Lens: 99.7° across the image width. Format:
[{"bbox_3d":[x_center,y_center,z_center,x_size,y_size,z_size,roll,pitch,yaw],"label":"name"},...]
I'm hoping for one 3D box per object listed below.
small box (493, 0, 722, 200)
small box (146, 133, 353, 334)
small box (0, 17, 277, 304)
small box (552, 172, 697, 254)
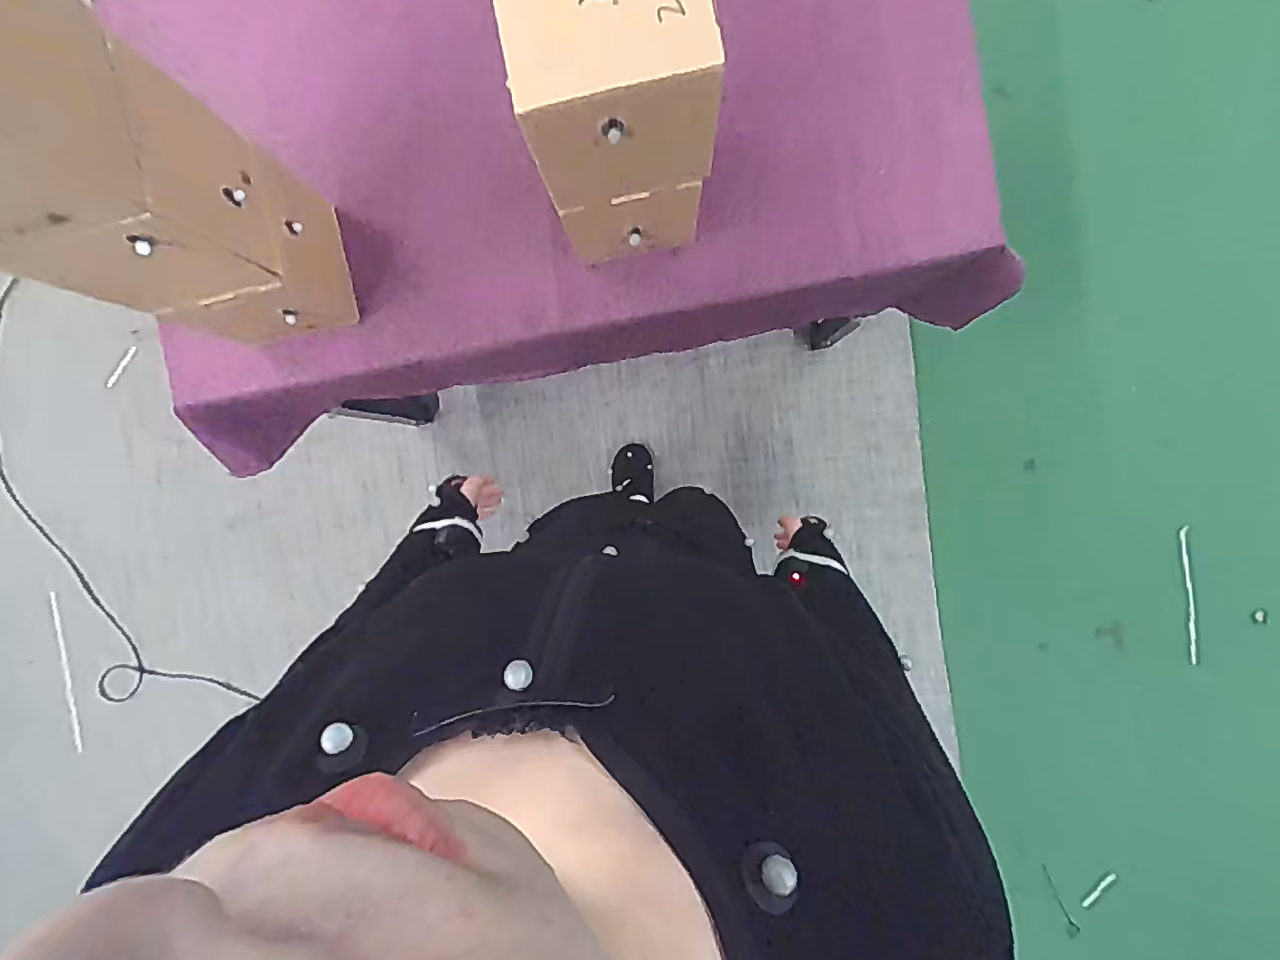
[{"bbox_3d":[-0.028,-0.393,0.512,0.179,0.176,0.168,-10,92,2],"label":"small box"},{"bbox_3d":[-0.503,-0.298,0.698,0.168,0.176,0.179,-11,91,1],"label":"small box"},{"bbox_3d":[-0.513,-0.291,0.536,0.179,0.176,0.168,-13,92,1],"label":"small box"},{"bbox_3d":[-0.025,-0.401,0.677,0.168,0.176,0.179,-10,93,2],"label":"small box"}]
